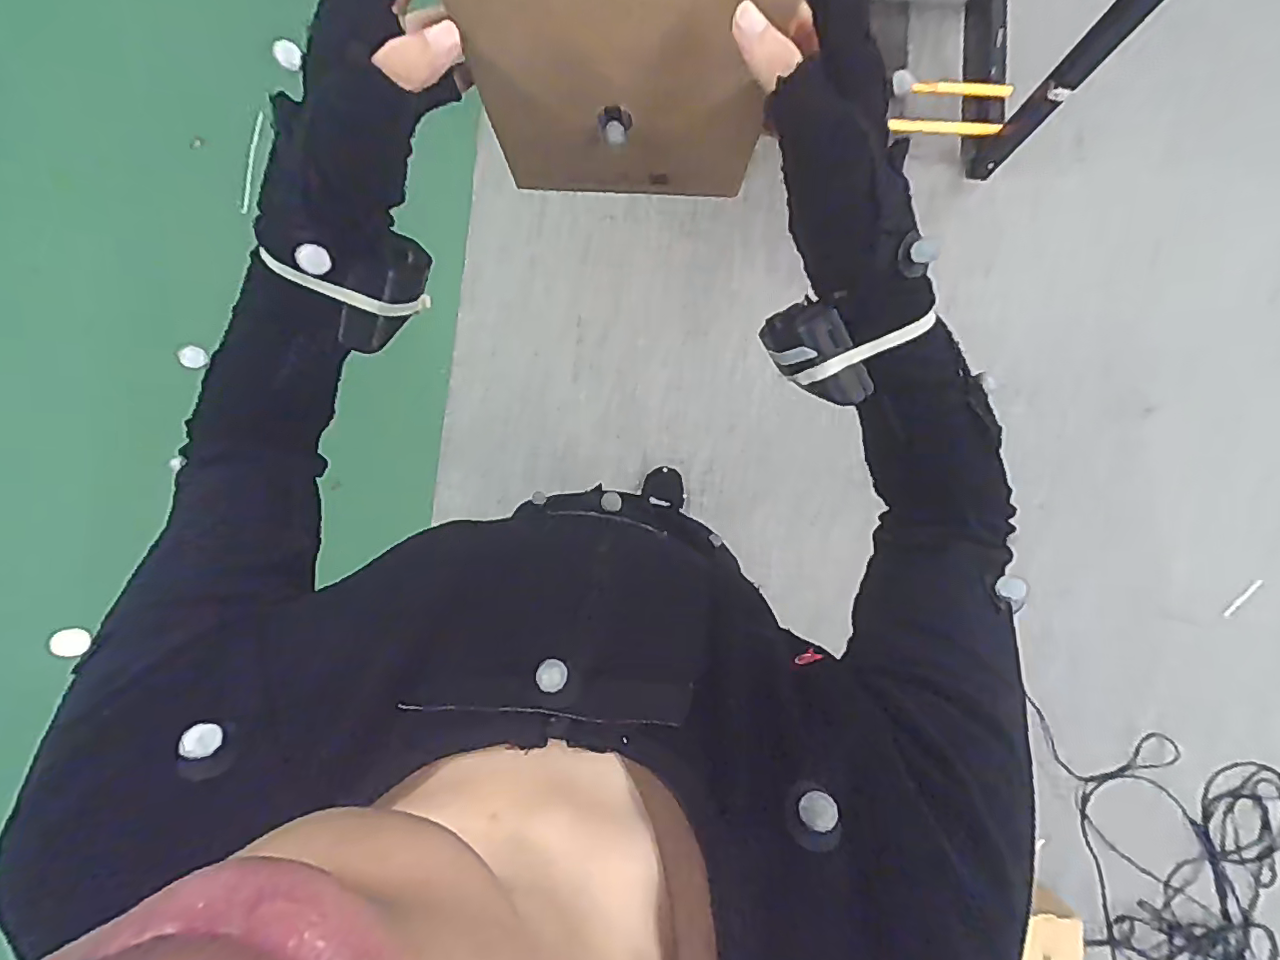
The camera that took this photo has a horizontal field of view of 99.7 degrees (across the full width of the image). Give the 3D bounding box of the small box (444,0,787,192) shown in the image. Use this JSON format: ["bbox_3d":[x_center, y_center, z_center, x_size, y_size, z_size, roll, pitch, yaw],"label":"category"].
[{"bbox_3d":[-0.005,-0.301,0.322,0.168,0.176,0.179,3,87,0],"label":"small box"}]

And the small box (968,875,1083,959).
[{"bbox_3d":[0.924,1.106,1.308,0.168,0.176,0.179,4,84,0],"label":"small box"}]
